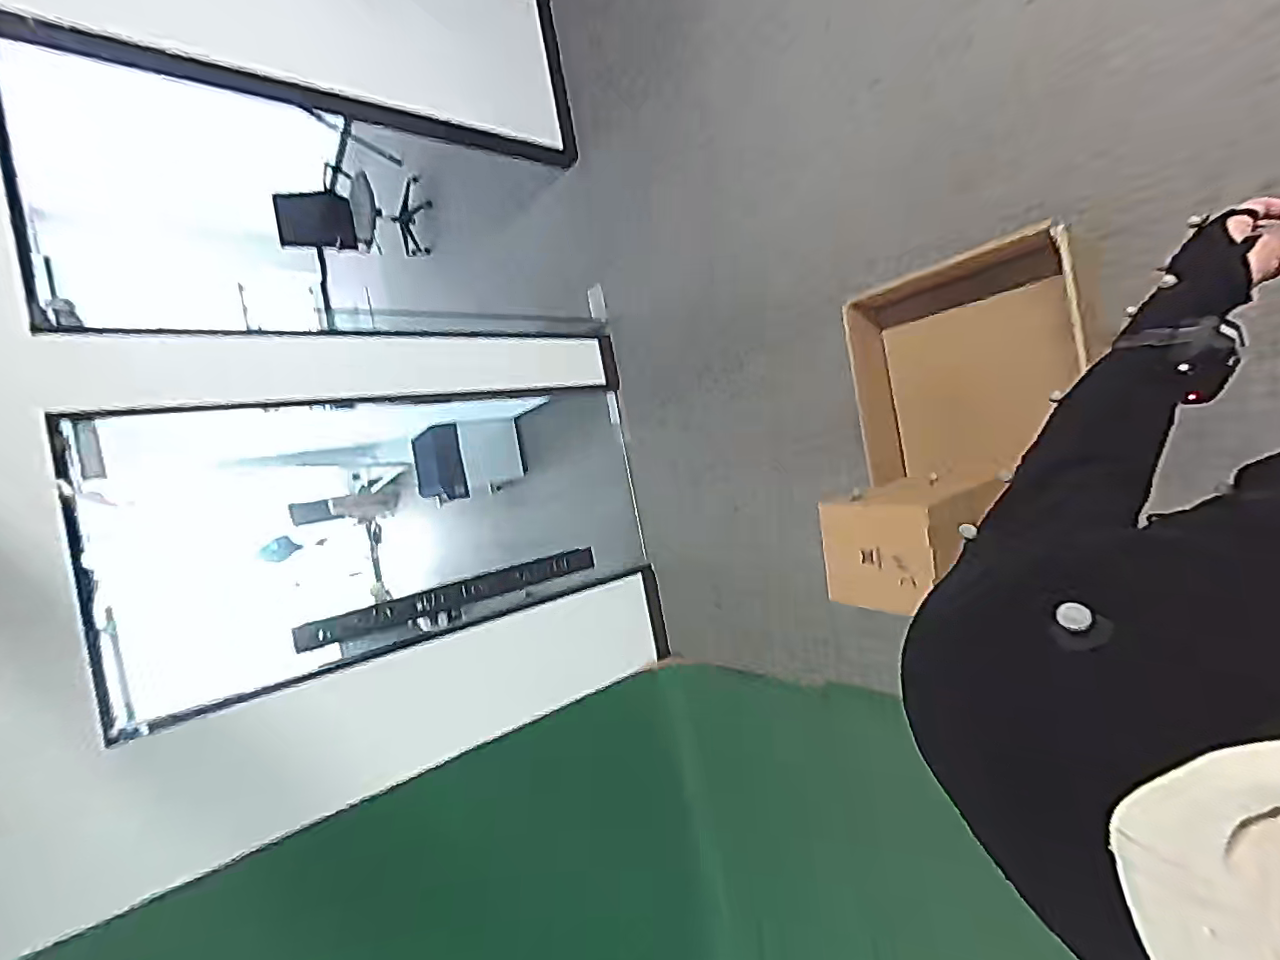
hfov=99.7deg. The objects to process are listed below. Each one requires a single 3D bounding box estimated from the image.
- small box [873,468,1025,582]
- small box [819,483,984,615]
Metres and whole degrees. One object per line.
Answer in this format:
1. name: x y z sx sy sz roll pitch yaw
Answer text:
1. small box: 0.547 0.074 0.962 0.179 0.176 0.168 -6 95 53
2. small box: 0.417 0.099 0.865 0.179 0.176 0.168 -2 98 53
